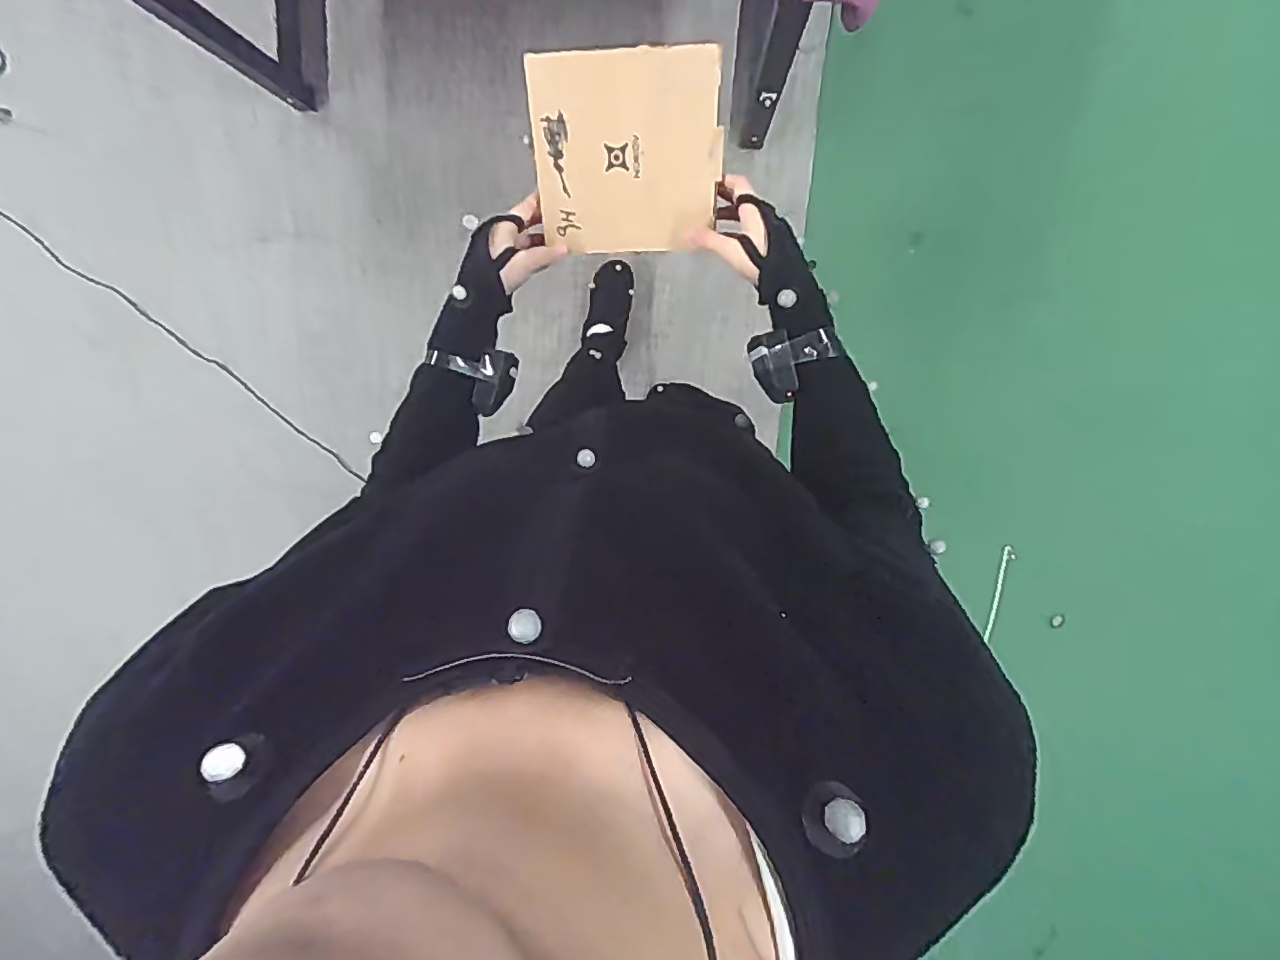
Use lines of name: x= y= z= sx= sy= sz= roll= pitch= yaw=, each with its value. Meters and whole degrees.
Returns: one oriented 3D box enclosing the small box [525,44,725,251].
small box: x=-0.010 y=-0.342 z=0.572 sx=0.179 sy=0.176 sz=0.168 roll=0 pitch=119 yaw=3
